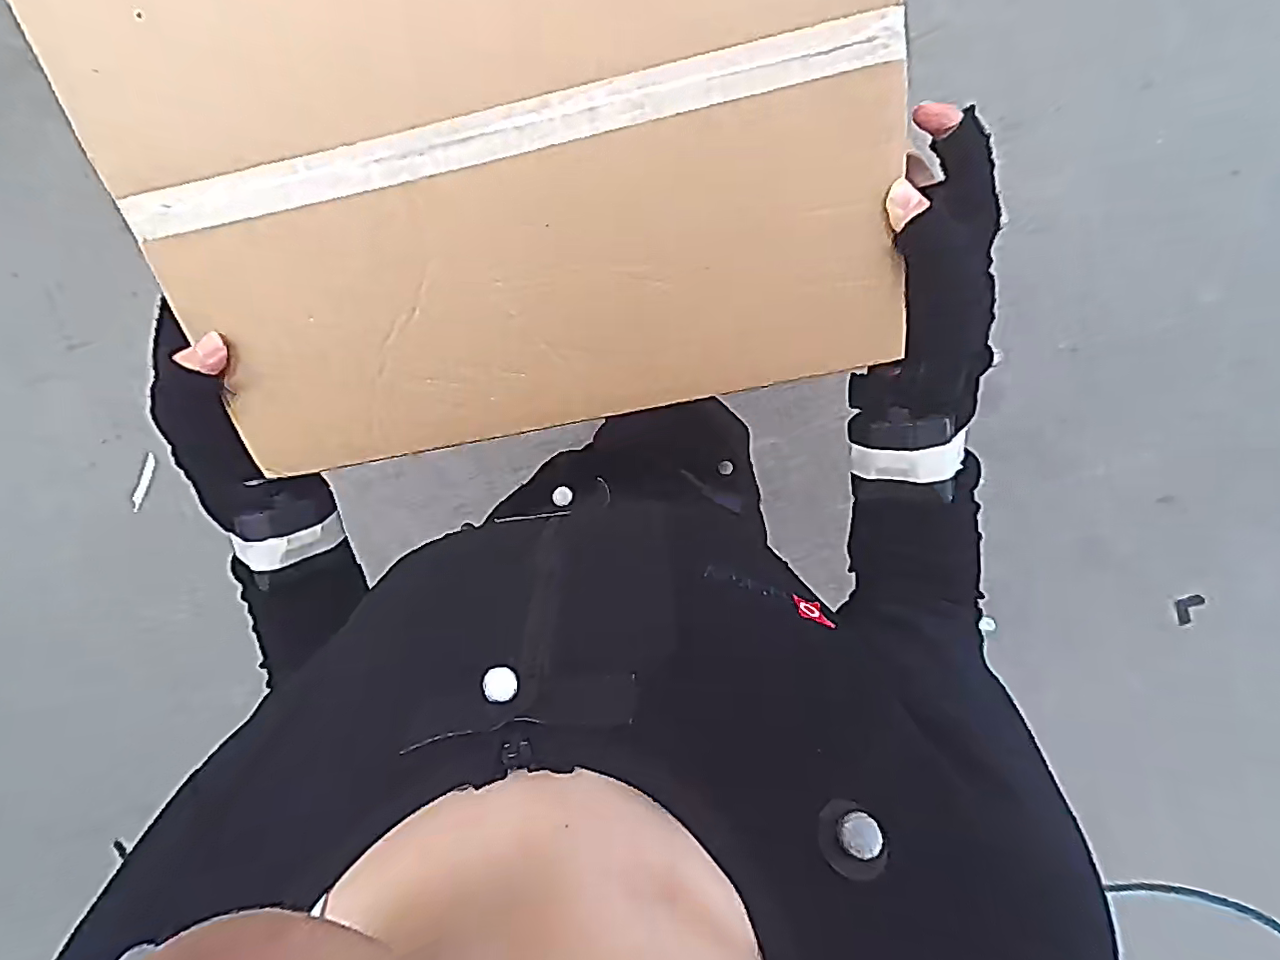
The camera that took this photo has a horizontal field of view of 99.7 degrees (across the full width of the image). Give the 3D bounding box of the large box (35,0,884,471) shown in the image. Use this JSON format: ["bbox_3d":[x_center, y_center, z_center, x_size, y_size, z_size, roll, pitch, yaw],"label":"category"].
[{"bbox_3d":[-0.074,-0.240,0.419,0.408,0.320,0.320,-10,113,5],"label":"large box"}]
